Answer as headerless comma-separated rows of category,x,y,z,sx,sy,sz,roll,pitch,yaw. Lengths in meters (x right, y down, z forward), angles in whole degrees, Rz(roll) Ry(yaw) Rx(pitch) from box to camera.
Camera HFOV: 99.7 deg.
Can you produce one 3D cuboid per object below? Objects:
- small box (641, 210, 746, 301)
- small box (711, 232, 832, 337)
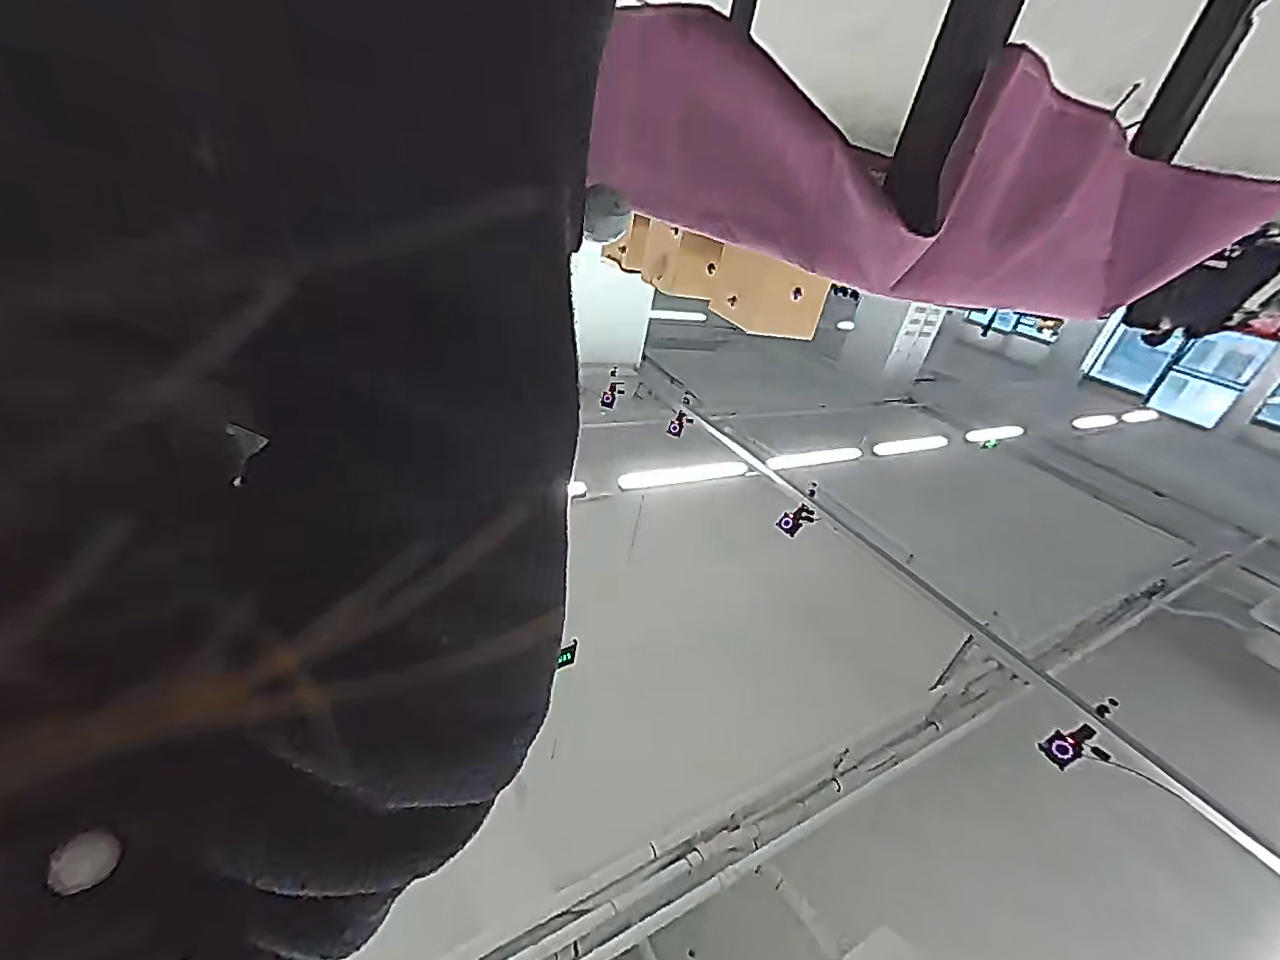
small box,0.126,-0.542,1.304,0.179,0.176,0.168,-5,-146,-27
small box,0.273,-0.410,1.126,0.168,0.176,0.179,-2,-148,-24
